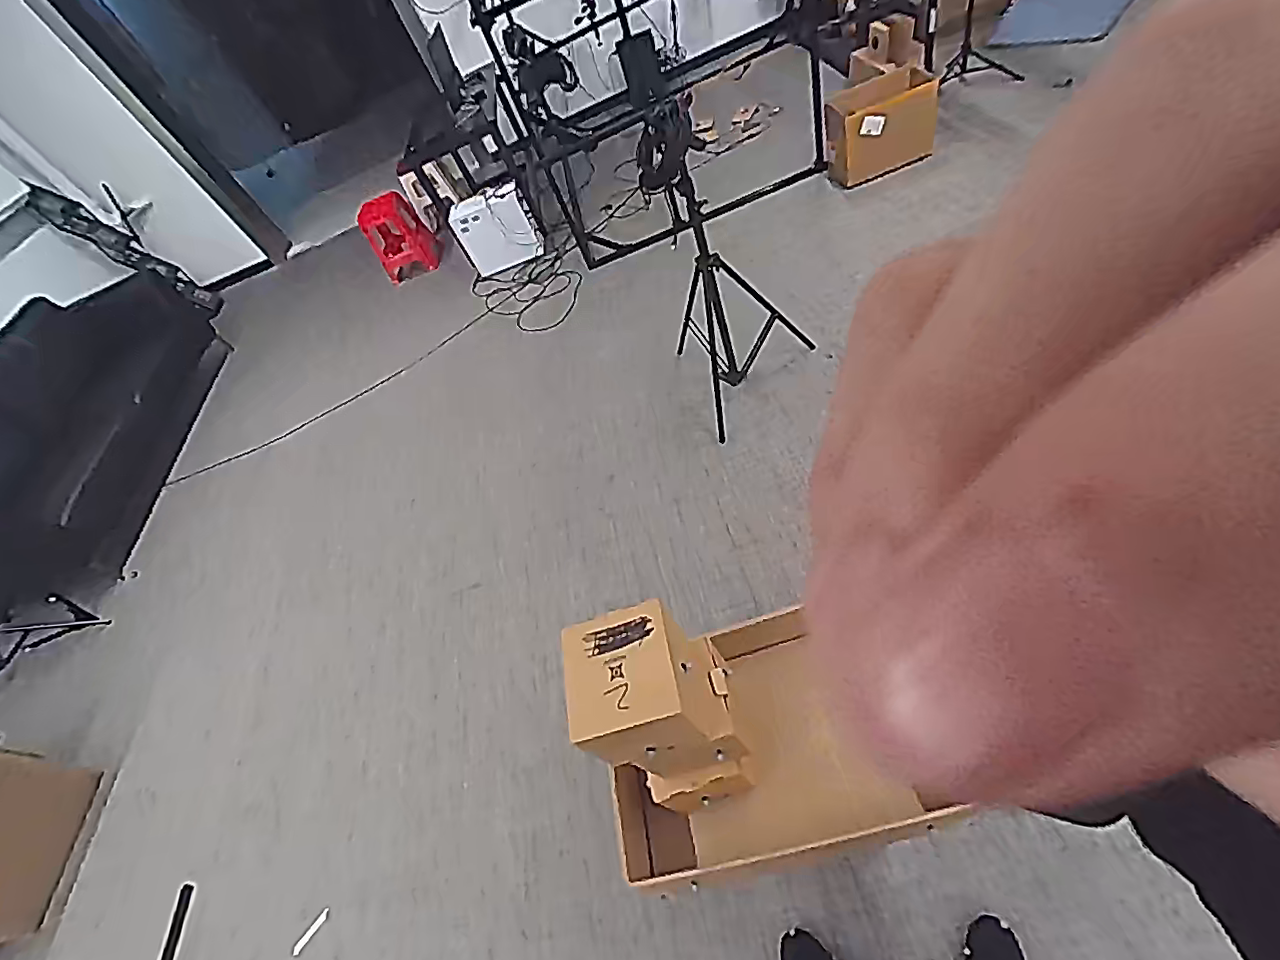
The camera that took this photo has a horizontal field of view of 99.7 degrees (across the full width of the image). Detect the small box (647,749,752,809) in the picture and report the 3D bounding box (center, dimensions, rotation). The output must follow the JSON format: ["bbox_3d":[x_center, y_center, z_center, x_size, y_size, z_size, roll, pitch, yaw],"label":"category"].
[{"bbox_3d":[0.105,0.521,1.064,0.168,0.176,0.179,-24,49,6],"label":"small box"}]

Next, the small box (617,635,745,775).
[{"bbox_3d":[0.078,0.400,0.951,0.179,0.176,0.168,-20,49,8],"label":"small box"}]
